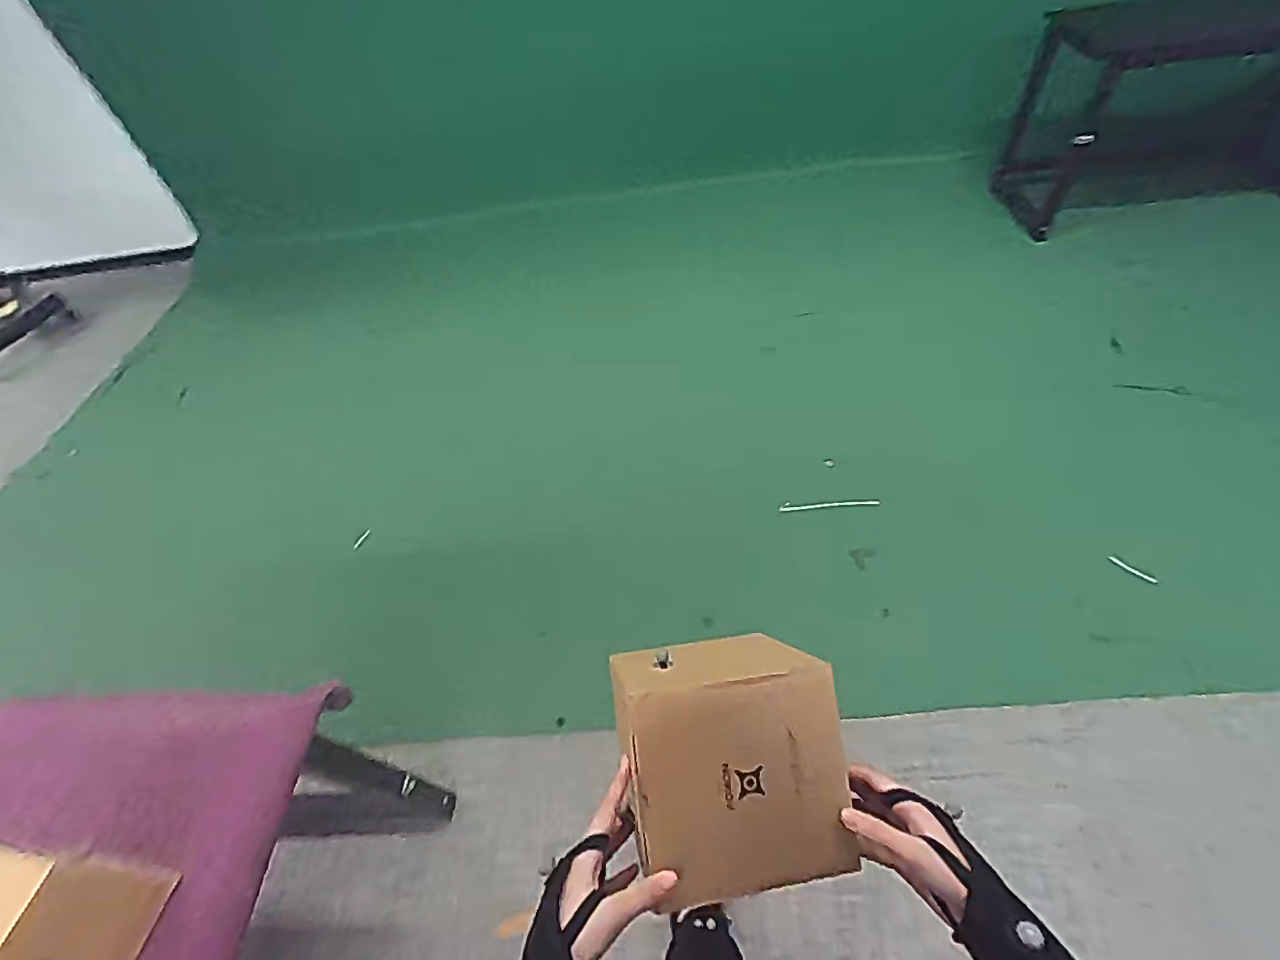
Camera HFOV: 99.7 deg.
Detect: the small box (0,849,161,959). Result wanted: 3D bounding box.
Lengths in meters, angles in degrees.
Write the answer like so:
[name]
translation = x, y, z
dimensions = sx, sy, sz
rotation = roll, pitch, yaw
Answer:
[small box]
translation = -0.679, 0.512, 0.578
dimensions = 0.168, 0.176, 0.179
rotation = 2, 53, 12
